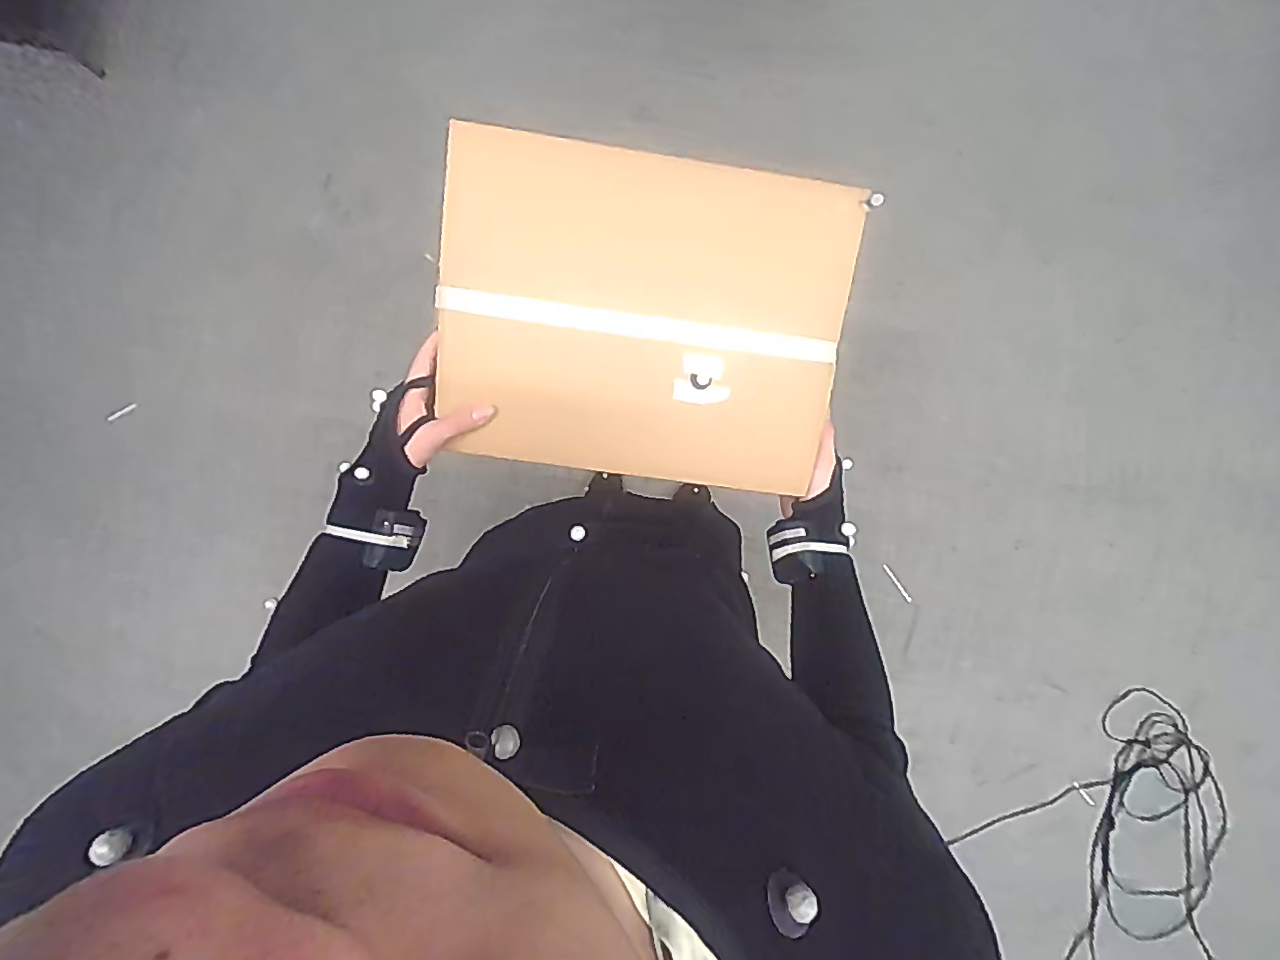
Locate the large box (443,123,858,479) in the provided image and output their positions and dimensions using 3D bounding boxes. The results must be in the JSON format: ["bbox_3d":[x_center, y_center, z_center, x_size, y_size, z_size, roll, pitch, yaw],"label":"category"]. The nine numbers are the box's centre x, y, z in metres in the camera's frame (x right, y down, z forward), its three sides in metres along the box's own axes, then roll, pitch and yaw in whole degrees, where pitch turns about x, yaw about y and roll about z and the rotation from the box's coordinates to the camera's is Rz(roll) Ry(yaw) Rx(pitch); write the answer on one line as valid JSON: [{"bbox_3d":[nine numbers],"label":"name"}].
[{"bbox_3d":[-0.006,-0.202,0.698,0.408,0.320,0.320,7,104,-5],"label":"large box"}]
